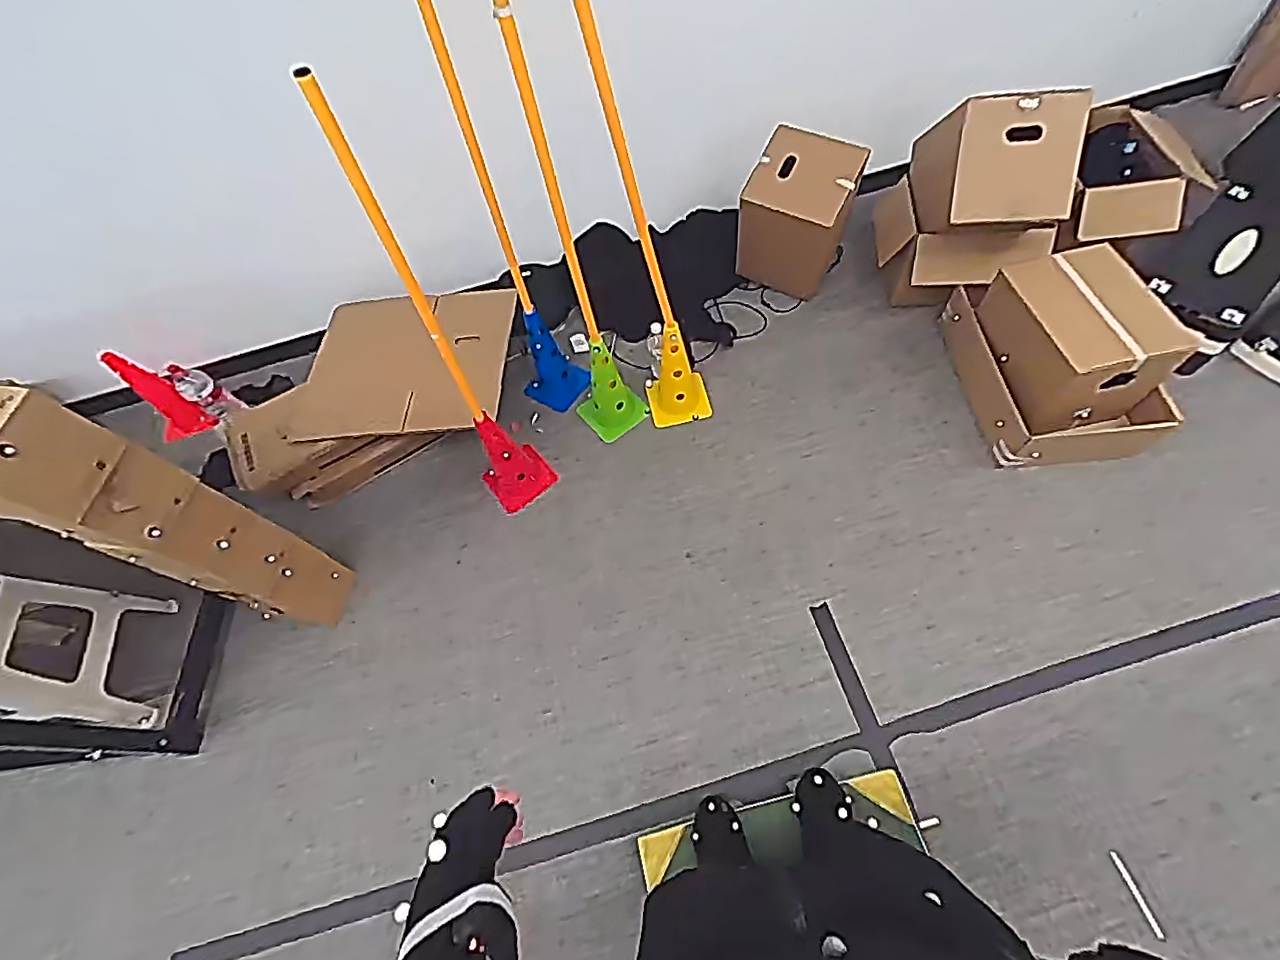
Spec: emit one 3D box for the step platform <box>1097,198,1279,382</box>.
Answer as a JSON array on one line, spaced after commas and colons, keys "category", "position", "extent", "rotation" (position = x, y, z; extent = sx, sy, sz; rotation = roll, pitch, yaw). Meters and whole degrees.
[{"category": "step platform", "position": [1.832, -0.629, 1.754], "extent": [0.684, 0.204, 0.286], "rotation": [-42, 64, -14]}]
